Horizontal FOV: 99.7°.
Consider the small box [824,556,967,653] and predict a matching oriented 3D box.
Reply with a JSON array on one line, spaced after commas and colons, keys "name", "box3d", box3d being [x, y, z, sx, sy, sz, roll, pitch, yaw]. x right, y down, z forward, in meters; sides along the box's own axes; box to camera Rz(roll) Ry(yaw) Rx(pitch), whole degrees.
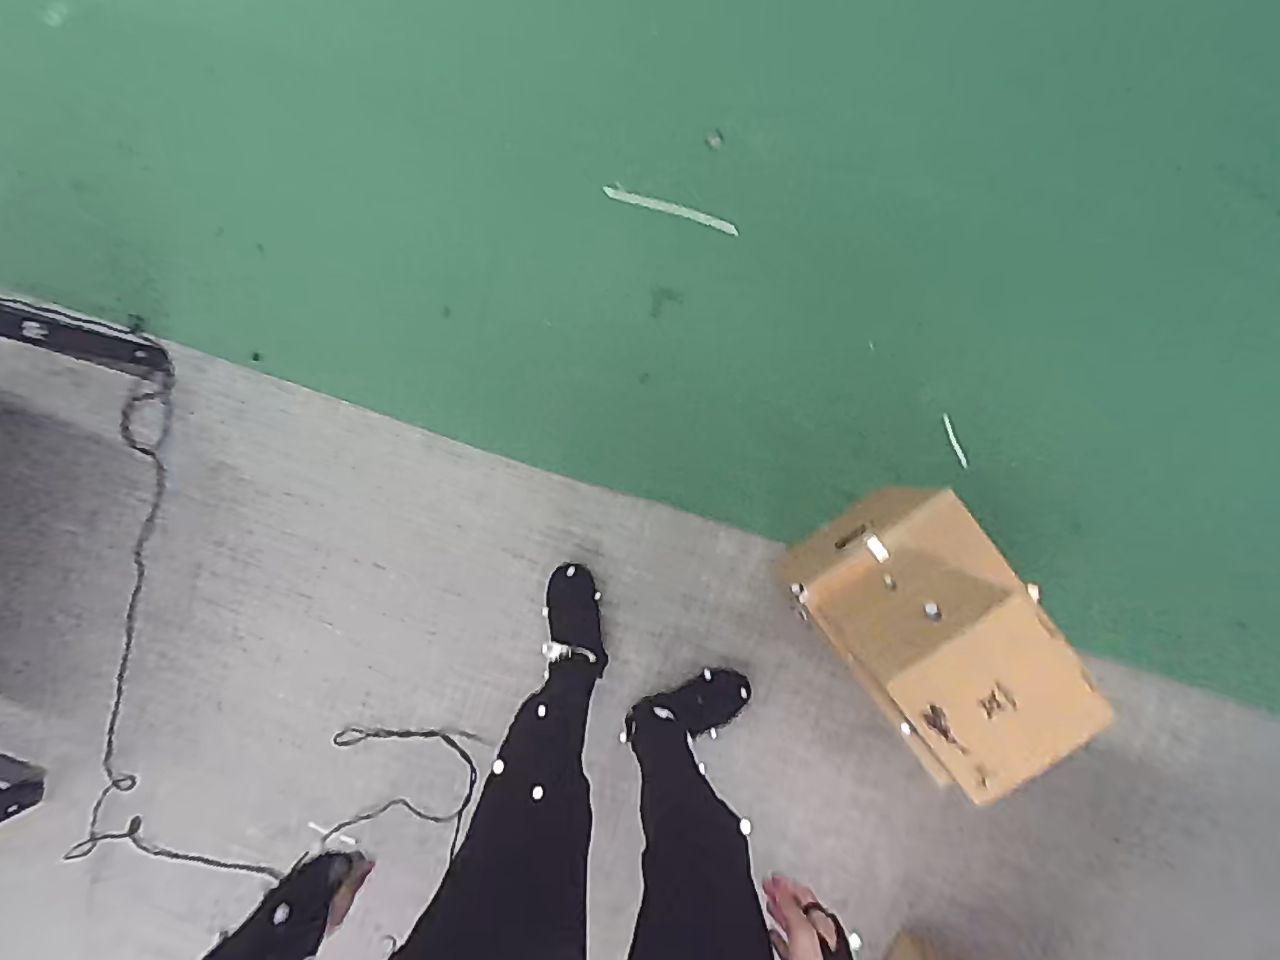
[{"name": "small box", "box3d": [0.410, 0.234, 0.816, 0.179, 0.176, 0.168, -36, 87, 5]}]

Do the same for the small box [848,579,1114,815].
[{"name": "small box", "box3d": [0.388, 0.242, 0.653, 0.179, 0.176, 0.168, -37, 88, 4]}]
